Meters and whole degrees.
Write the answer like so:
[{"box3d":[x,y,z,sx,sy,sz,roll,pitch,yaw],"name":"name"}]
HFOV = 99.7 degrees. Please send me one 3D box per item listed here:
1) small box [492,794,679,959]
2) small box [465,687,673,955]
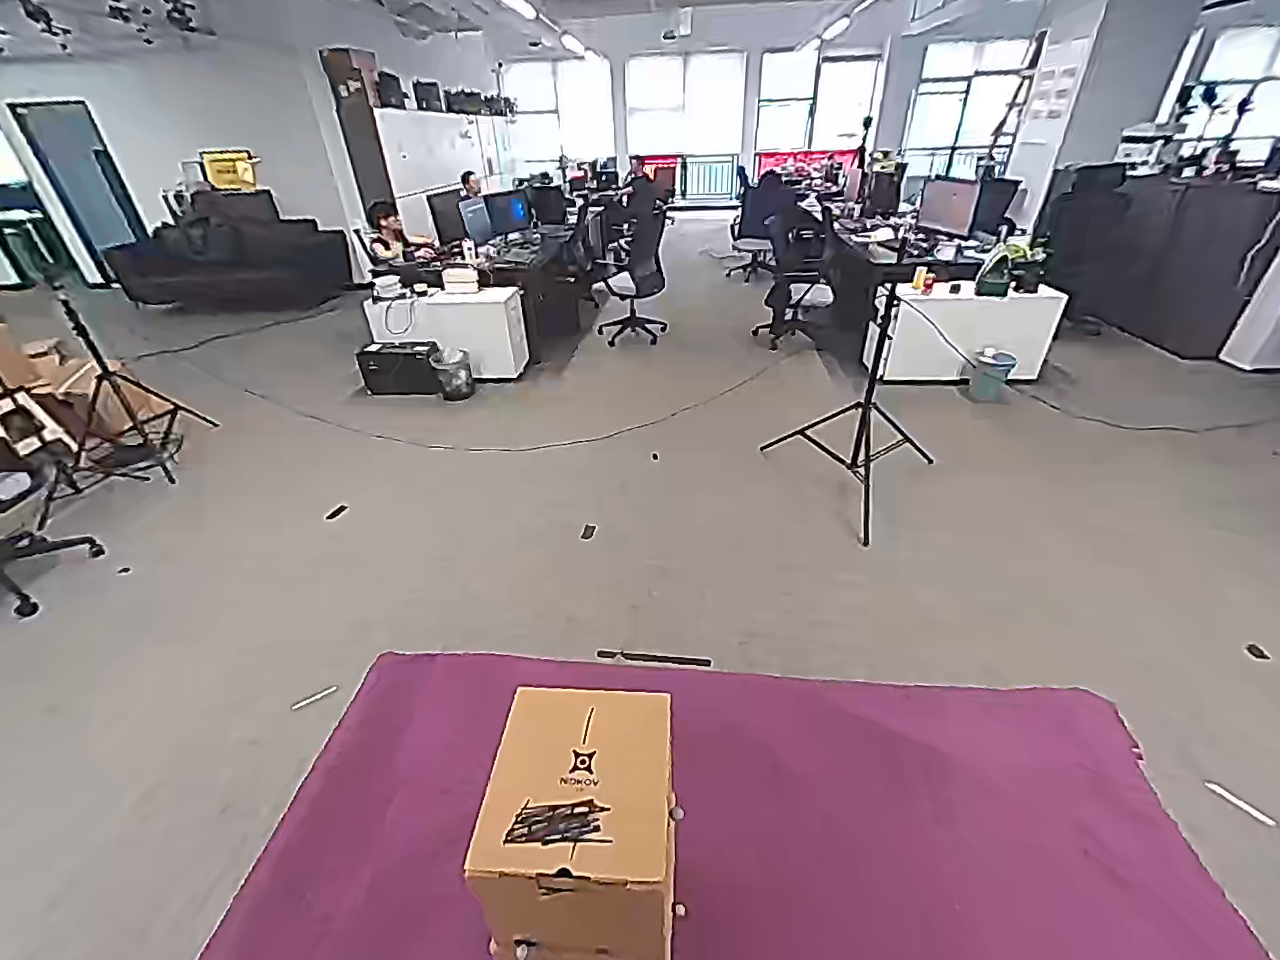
[{"box3d":[-0.047,0.478,0.622,0.179,0.176,0.168,1,32,6],"name":"small box"},{"box3d":[-0.052,0.335,0.540,0.168,0.176,0.179,1,32,4],"name":"small box"}]
